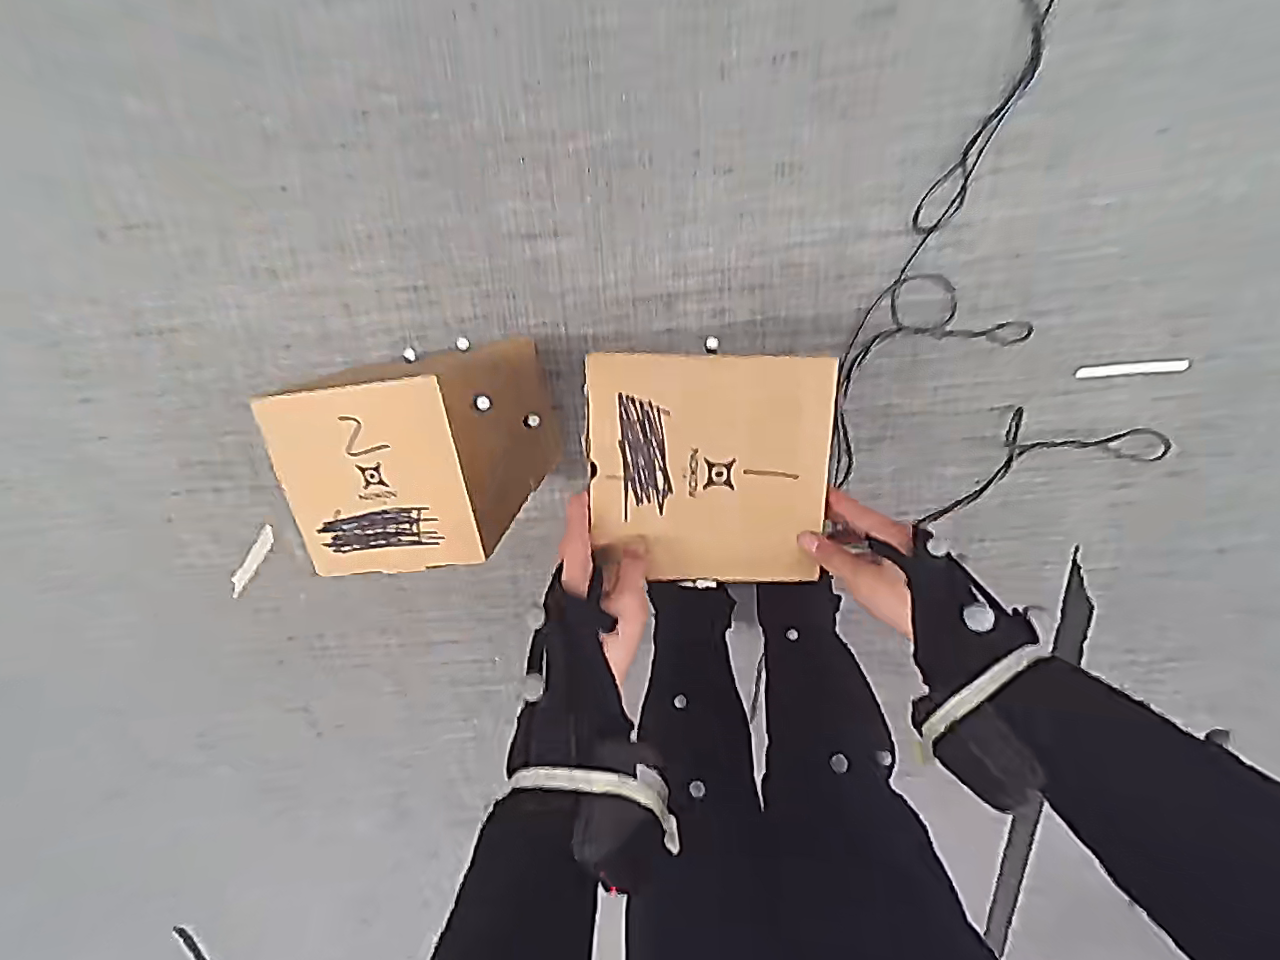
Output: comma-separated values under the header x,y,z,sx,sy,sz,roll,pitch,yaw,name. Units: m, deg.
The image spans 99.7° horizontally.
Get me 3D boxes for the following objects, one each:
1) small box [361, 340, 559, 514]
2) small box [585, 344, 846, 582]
x,y,z,sx,sy,sz,roll,pitch,yaw,name
-0.216,-0.079,0.701,0.168,0.176,0.179,-11,110,7,small box
0.049,-0.024,0.454,0.179,0.176,0.168,1,102,-1,small box
